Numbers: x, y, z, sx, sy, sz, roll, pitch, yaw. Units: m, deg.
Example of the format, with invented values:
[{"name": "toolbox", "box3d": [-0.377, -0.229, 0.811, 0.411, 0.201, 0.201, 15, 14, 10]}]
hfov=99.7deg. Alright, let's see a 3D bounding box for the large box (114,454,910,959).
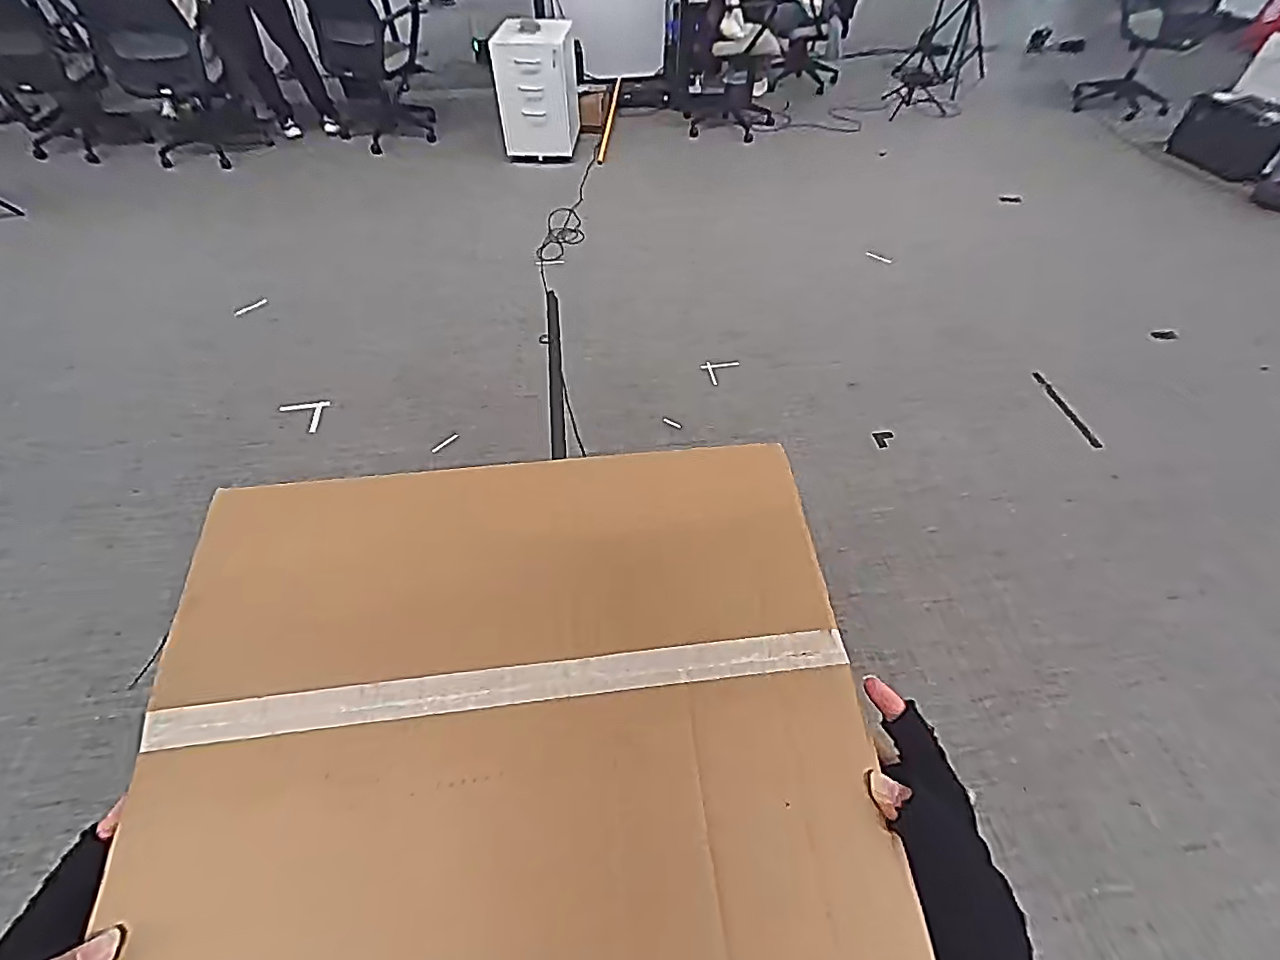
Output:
[{"name": "large box", "box3d": [-0.079, 0.205, 0.461, 0.408, 0.320, 0.320, -5, 61, -5]}]
